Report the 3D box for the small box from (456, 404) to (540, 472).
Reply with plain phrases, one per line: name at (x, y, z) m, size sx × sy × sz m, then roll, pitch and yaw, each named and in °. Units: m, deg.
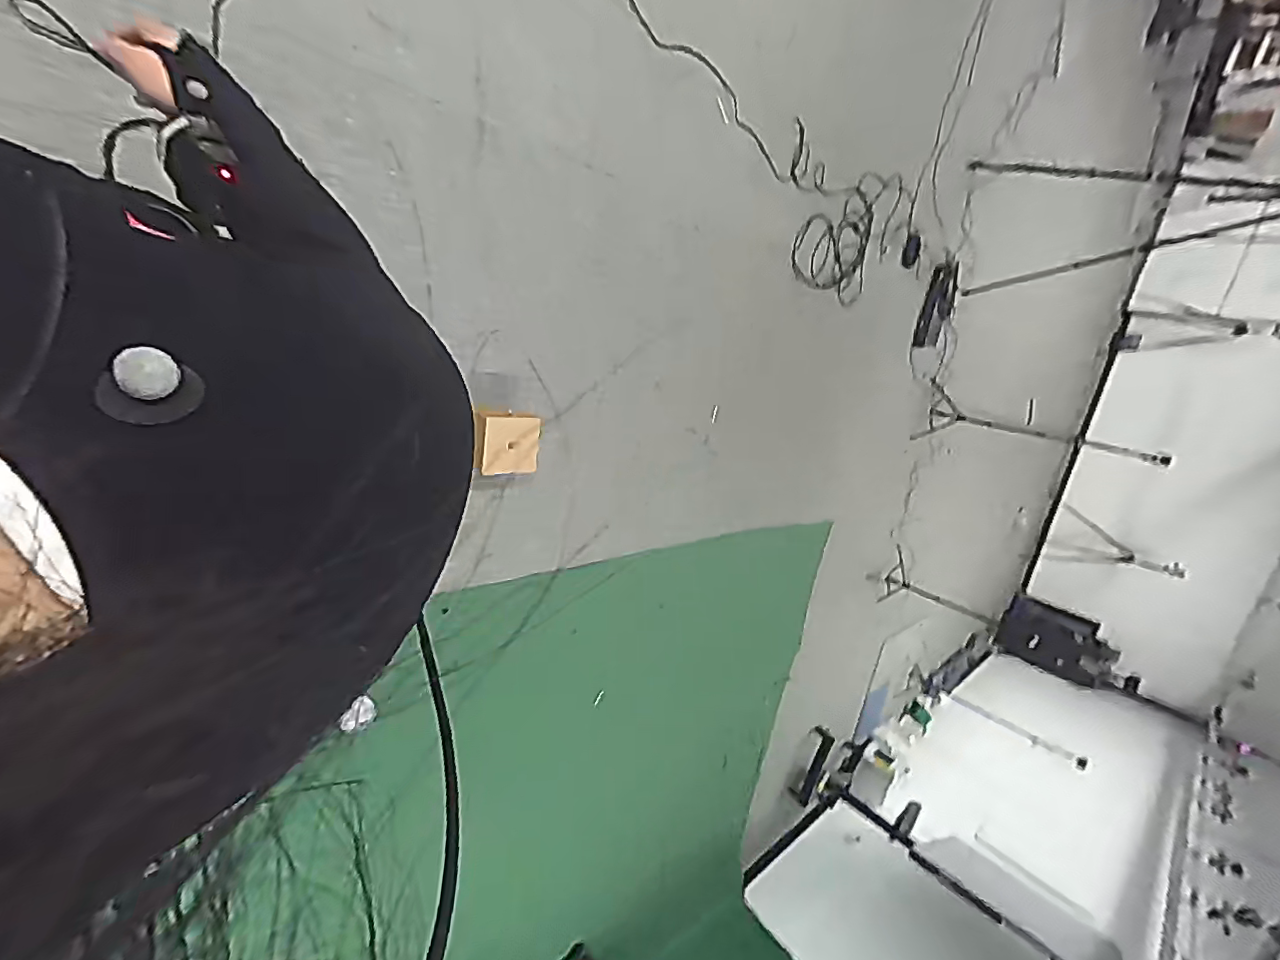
small box at (-0.419, -0.128, 1.587) m, size 0.179 × 0.176 × 0.168 m, roll -5°, pitch 110°, yaw -41°
